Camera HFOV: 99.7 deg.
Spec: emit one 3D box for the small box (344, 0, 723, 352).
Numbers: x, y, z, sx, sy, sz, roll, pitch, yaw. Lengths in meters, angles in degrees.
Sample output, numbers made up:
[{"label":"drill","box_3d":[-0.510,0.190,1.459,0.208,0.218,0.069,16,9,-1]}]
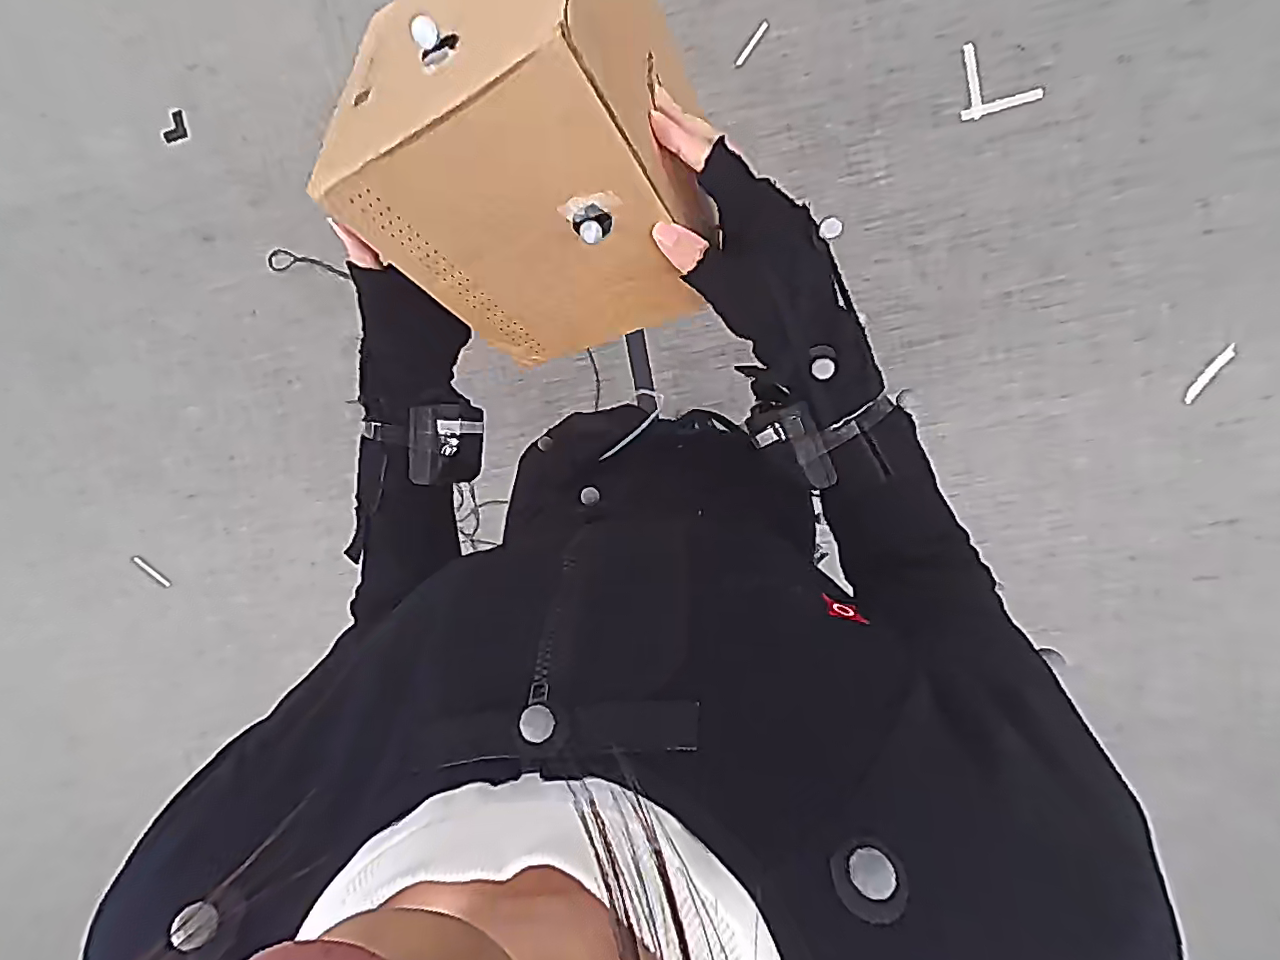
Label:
[{"label":"small box","box_3d":[-0.058,-0.210,0.360,0.176,0.179,0.168,-11,64,27]}]
